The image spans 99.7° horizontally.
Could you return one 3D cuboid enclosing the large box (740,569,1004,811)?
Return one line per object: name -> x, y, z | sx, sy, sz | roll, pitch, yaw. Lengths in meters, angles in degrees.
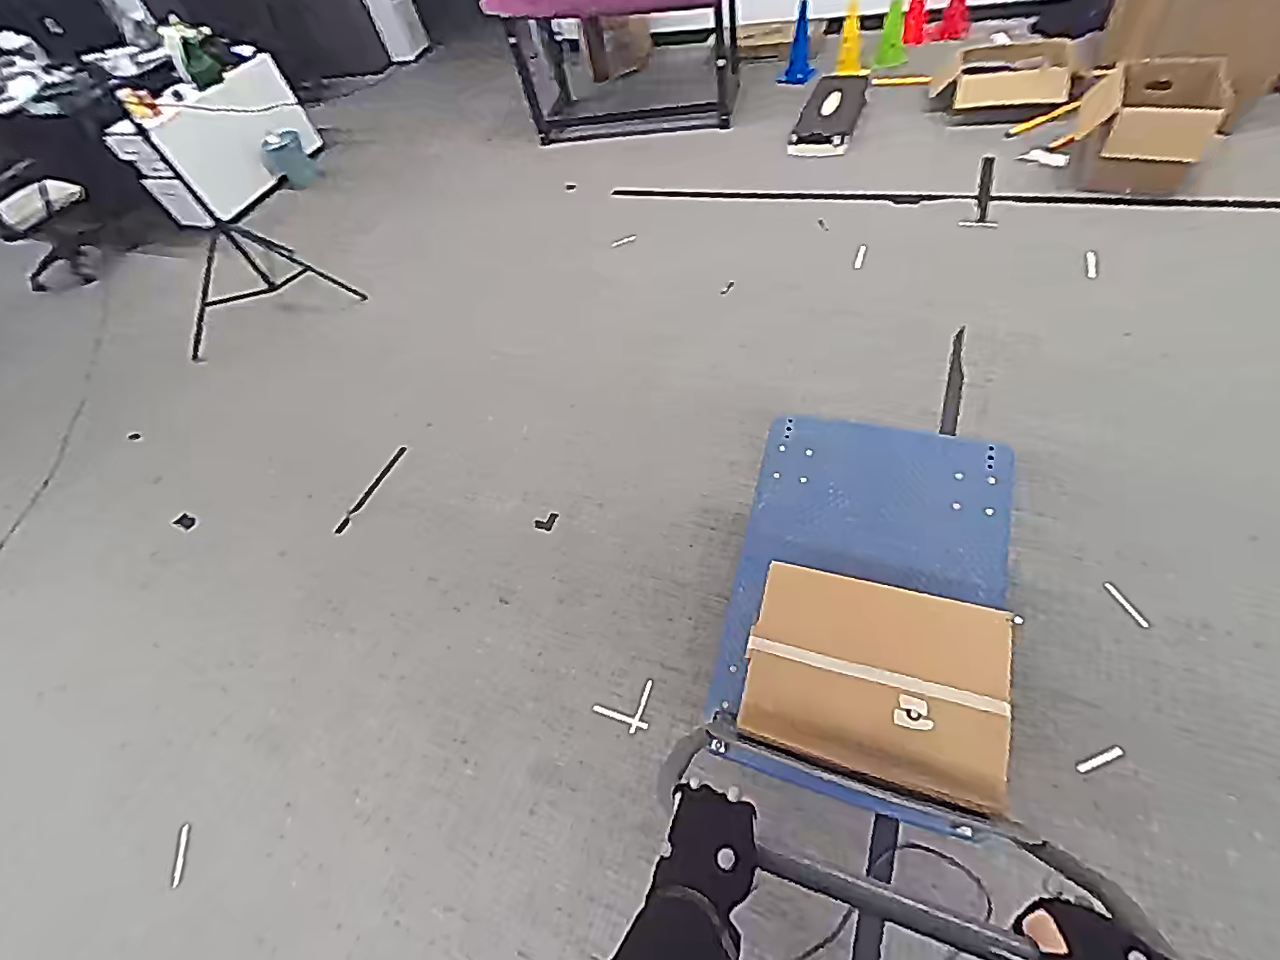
large box -> 0.426, 0.397, 1.060 | 0.408, 0.320, 0.320 | 10, 70, 17
